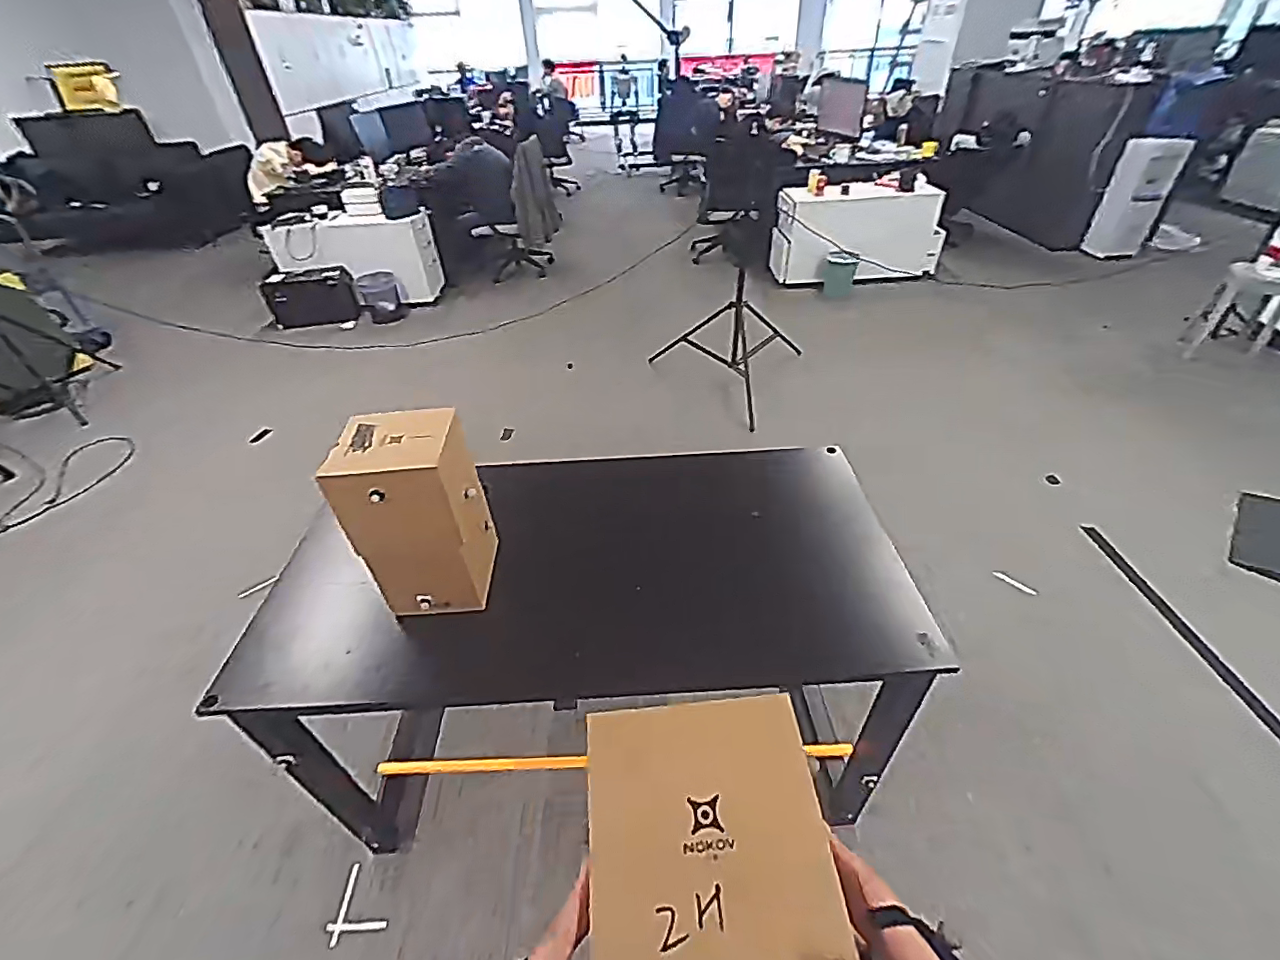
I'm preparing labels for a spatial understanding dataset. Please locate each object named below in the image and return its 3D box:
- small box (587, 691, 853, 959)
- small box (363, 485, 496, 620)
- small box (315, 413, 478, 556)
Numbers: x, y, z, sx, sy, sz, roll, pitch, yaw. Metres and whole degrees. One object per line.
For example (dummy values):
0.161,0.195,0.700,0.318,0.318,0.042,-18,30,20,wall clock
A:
0.048,0.296,0.440,0.168,0.176,0.179,-6,47,0,small box
-0.372,0.132,0.996,0.168,0.176,0.179,-6,40,-1,small box
-0.383,0.009,0.887,0.179,0.176,0.168,-6,39,-2,small box
